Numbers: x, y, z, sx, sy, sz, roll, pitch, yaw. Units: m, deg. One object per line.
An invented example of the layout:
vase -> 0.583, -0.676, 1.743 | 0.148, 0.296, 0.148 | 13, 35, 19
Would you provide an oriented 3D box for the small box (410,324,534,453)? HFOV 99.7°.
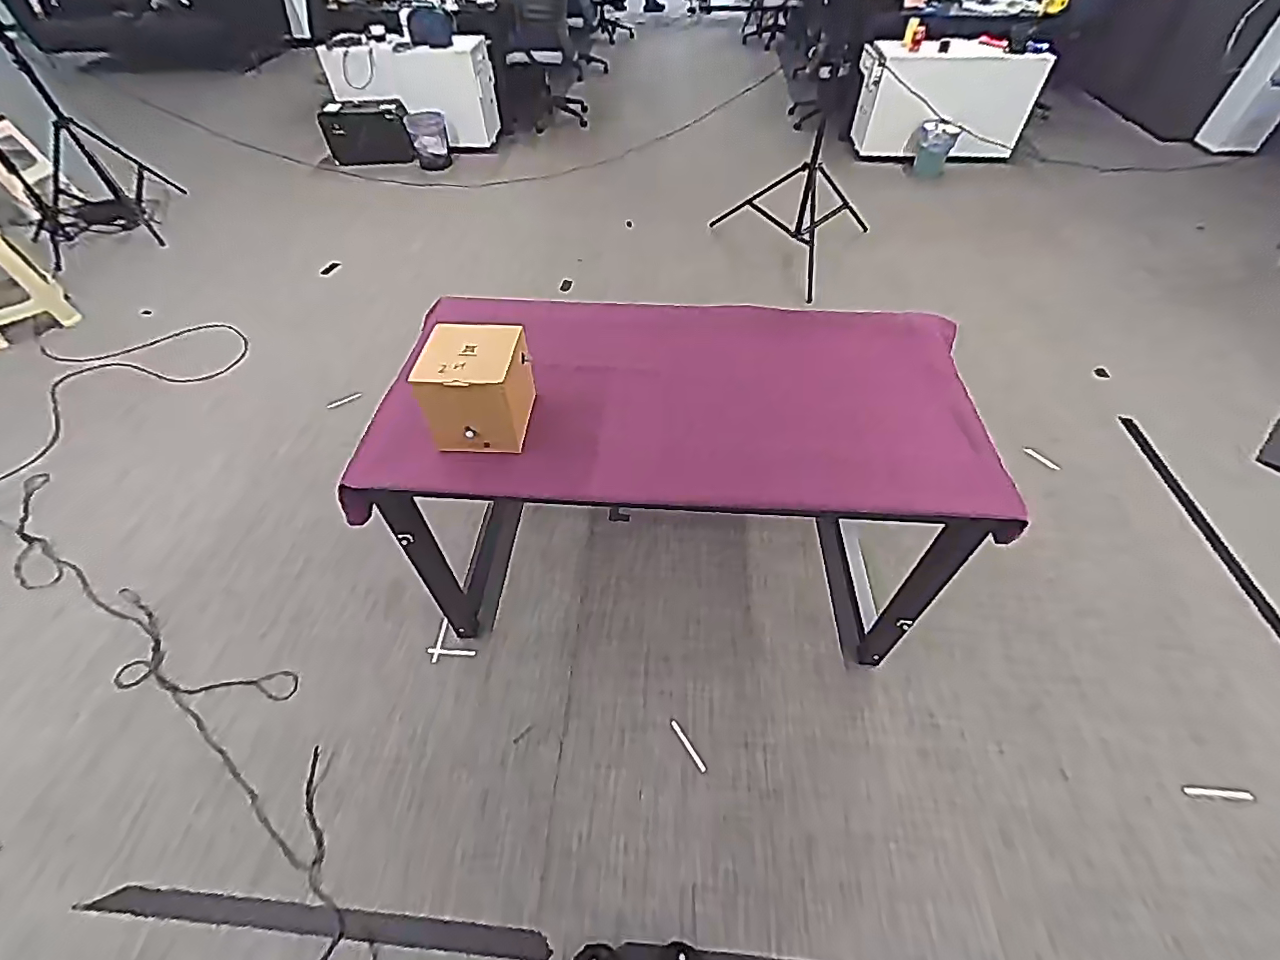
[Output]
small box -> -0.302, -0.172, 1.019 | 0.168, 0.176, 0.179 | 1, 49, 2
